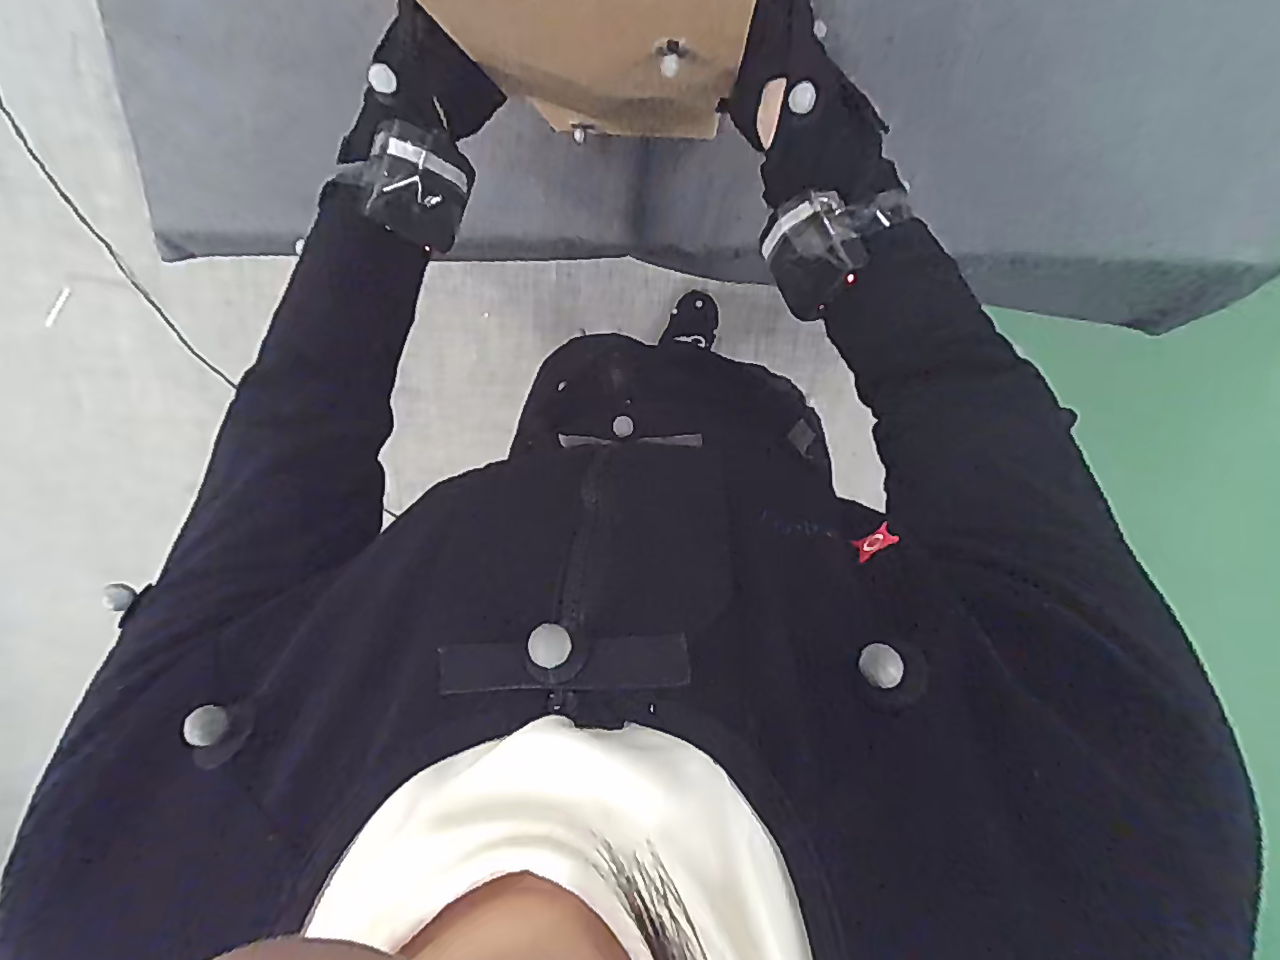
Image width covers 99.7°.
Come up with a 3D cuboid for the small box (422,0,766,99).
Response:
[{"bbox_3d":[-0.020,-0.332,0.293,0.179,0.176,0.168,-1,109,5],"label":"small box"}]

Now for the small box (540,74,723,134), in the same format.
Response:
[{"bbox_3d":[-0.006,-0.411,0.453,0.168,0.176,0.179,5,109,3],"label":"small box"}]
